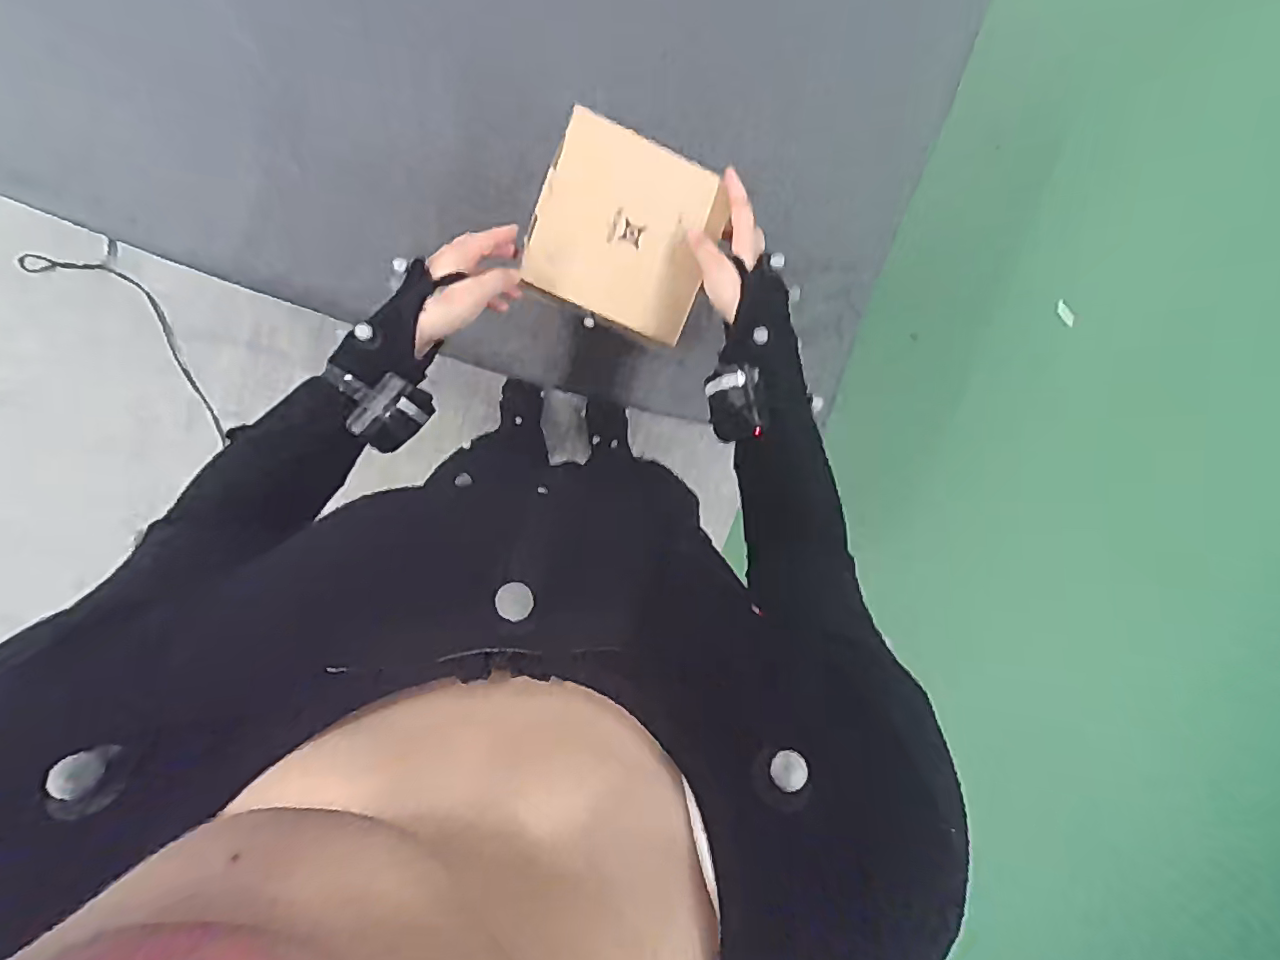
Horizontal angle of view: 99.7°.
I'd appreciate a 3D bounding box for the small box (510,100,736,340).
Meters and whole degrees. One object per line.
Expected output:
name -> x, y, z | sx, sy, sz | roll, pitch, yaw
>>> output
small box -> -0.024, -0.261, 0.597 | 0.179, 0.176, 0.168 | 21, 101, -11
